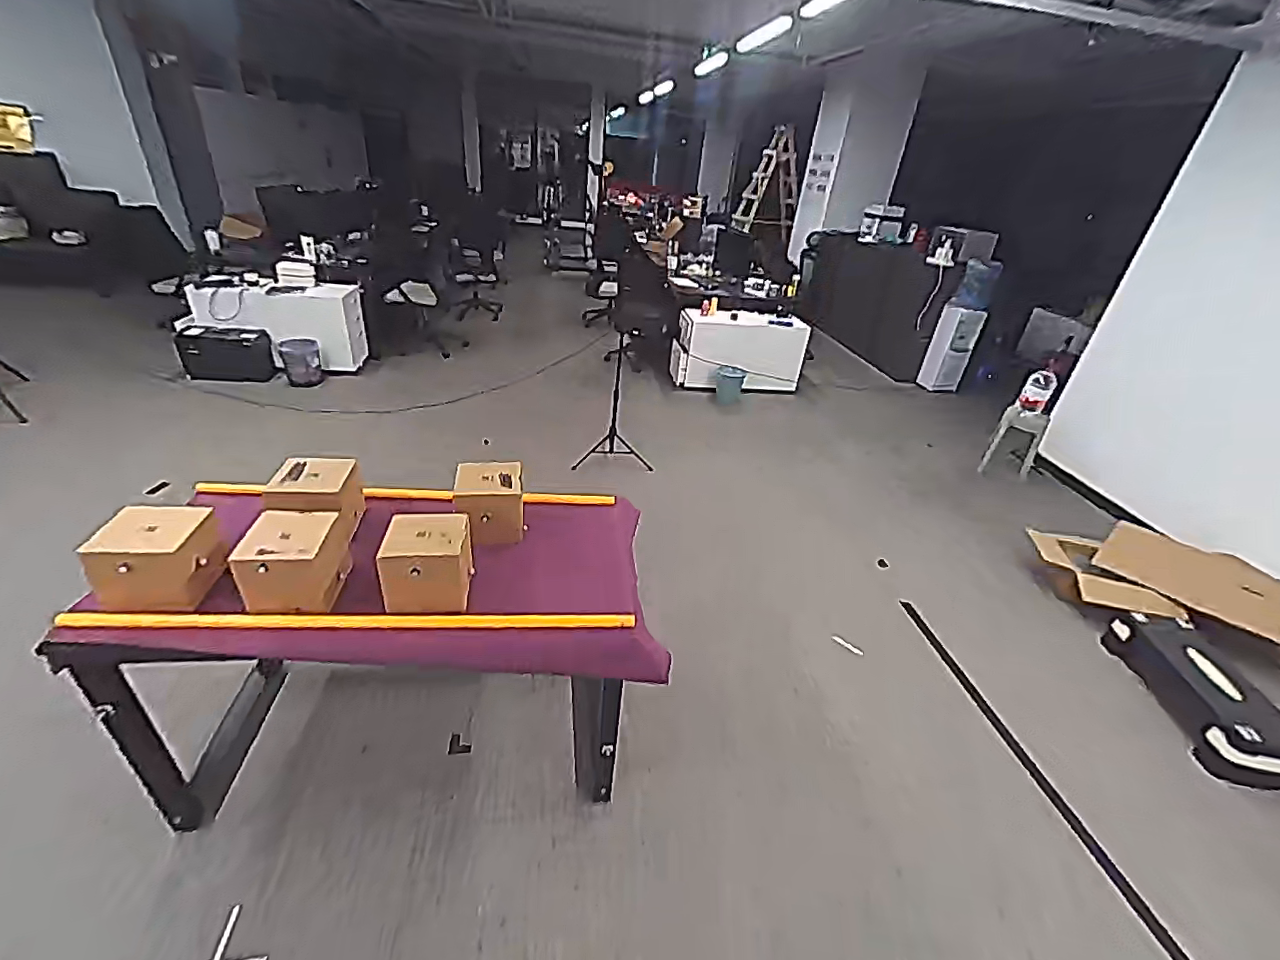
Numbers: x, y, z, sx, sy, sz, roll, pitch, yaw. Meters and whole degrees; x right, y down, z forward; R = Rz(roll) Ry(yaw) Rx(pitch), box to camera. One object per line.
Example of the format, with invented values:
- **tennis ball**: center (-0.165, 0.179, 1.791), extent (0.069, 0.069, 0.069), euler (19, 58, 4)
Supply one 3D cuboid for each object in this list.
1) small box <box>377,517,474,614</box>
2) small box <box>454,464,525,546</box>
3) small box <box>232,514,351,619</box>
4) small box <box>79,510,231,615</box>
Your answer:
- **small box**: center (-0.495, 0.201, 1.274), extent (0.179, 0.176, 0.168), euler (1, 30, -10)
- **small box**: center (-0.413, 0.070, 1.510), extent (0.179, 0.176, 0.168), euler (-1, 33, -10)
- **small box**: center (-0.779, 0.196, 1.233), extent (0.168, 0.176, 0.179), euler (1, 31, -8)
- **small box**: center (-1.056, 0.183, 1.200), extent (0.179, 0.176, 0.168), euler (1, 31, -10)
